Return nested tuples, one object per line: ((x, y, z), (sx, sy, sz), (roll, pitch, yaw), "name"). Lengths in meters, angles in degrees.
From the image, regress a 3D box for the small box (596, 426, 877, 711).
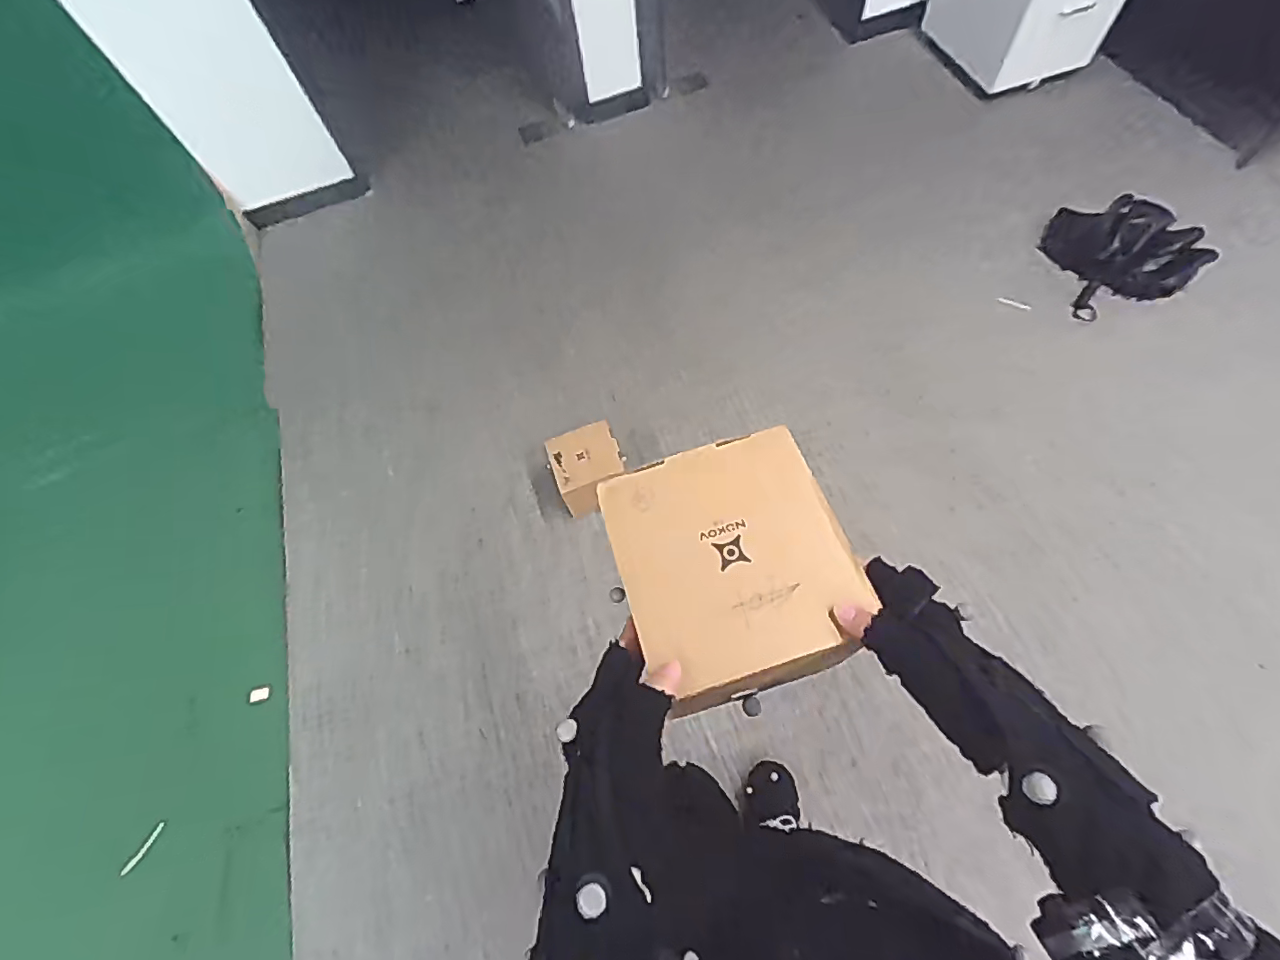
((0.070, 0.086, 0.478), (0.168, 0.176, 0.179), (-18, 62, -3), "small box")

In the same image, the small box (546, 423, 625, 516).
((-0.137, -0.023, 1.470), (0.179, 0.176, 0.168), (-19, 64, -4), "small box")
